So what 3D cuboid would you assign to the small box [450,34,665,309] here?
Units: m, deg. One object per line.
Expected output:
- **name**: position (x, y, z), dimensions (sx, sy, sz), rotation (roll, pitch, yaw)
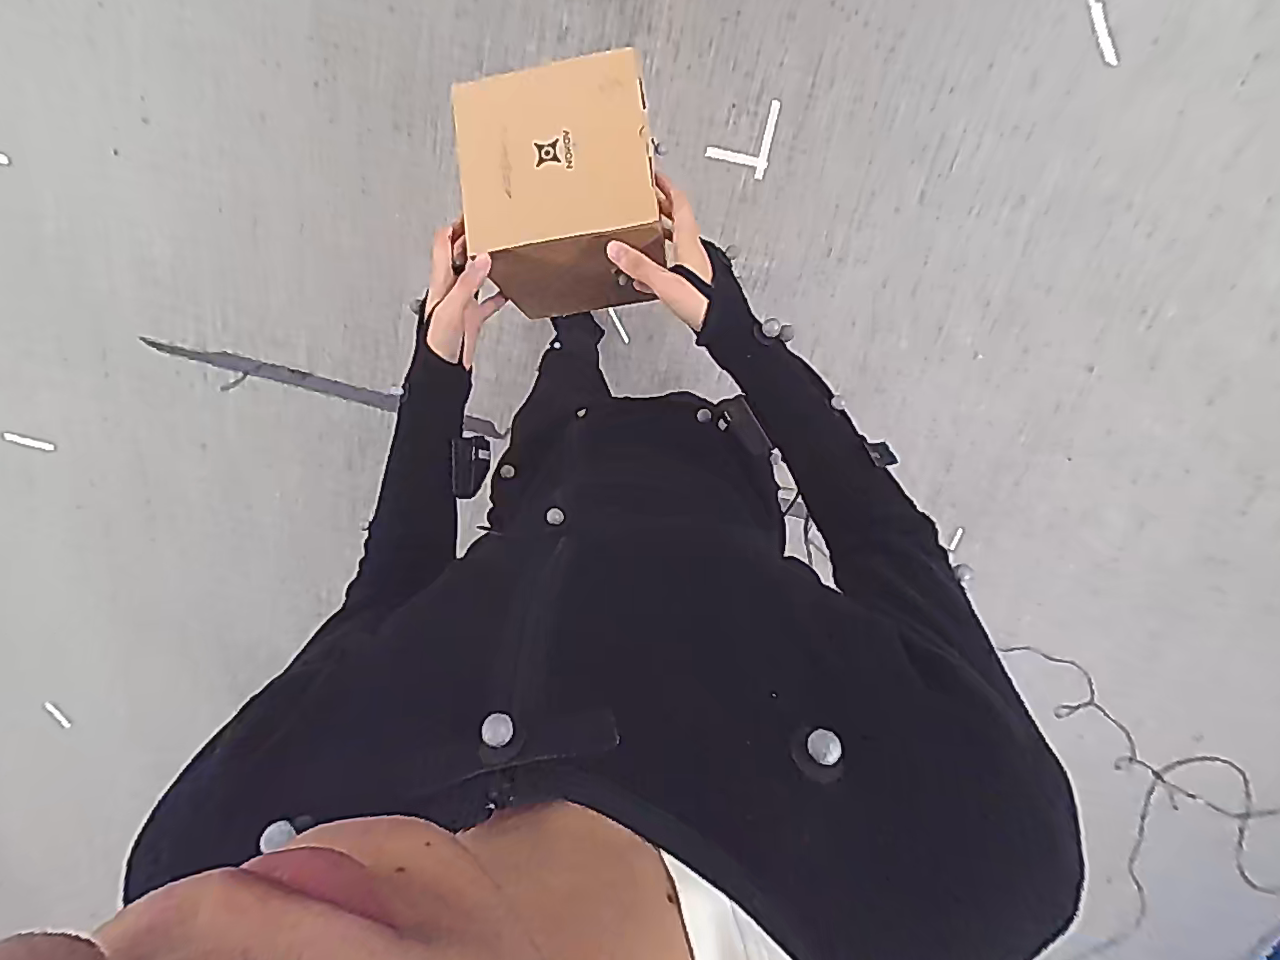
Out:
- **small box**: position (-0.069, -0.292, 0.552), dimensions (0.179, 0.176, 0.168), rotation (-7, 85, 7)
